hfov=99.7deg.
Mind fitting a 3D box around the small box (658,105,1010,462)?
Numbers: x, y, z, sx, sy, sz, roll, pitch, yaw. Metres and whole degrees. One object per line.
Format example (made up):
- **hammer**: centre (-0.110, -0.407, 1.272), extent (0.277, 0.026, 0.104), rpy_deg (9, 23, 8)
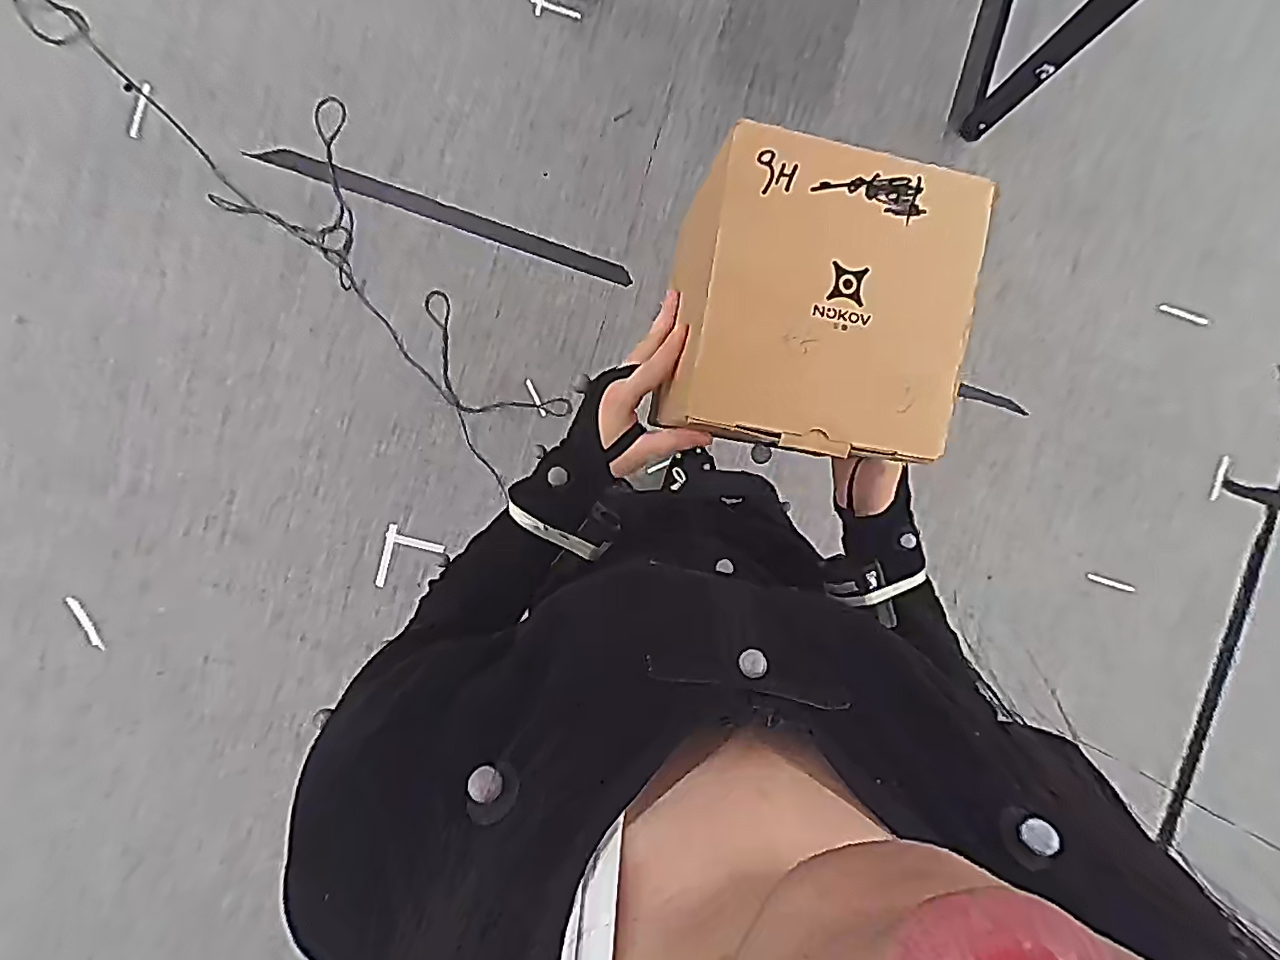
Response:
- **small box**: centre (0.114, -0.116, 0.391), extent (0.168, 0.176, 0.179), rpy_deg (9, 95, -9)
